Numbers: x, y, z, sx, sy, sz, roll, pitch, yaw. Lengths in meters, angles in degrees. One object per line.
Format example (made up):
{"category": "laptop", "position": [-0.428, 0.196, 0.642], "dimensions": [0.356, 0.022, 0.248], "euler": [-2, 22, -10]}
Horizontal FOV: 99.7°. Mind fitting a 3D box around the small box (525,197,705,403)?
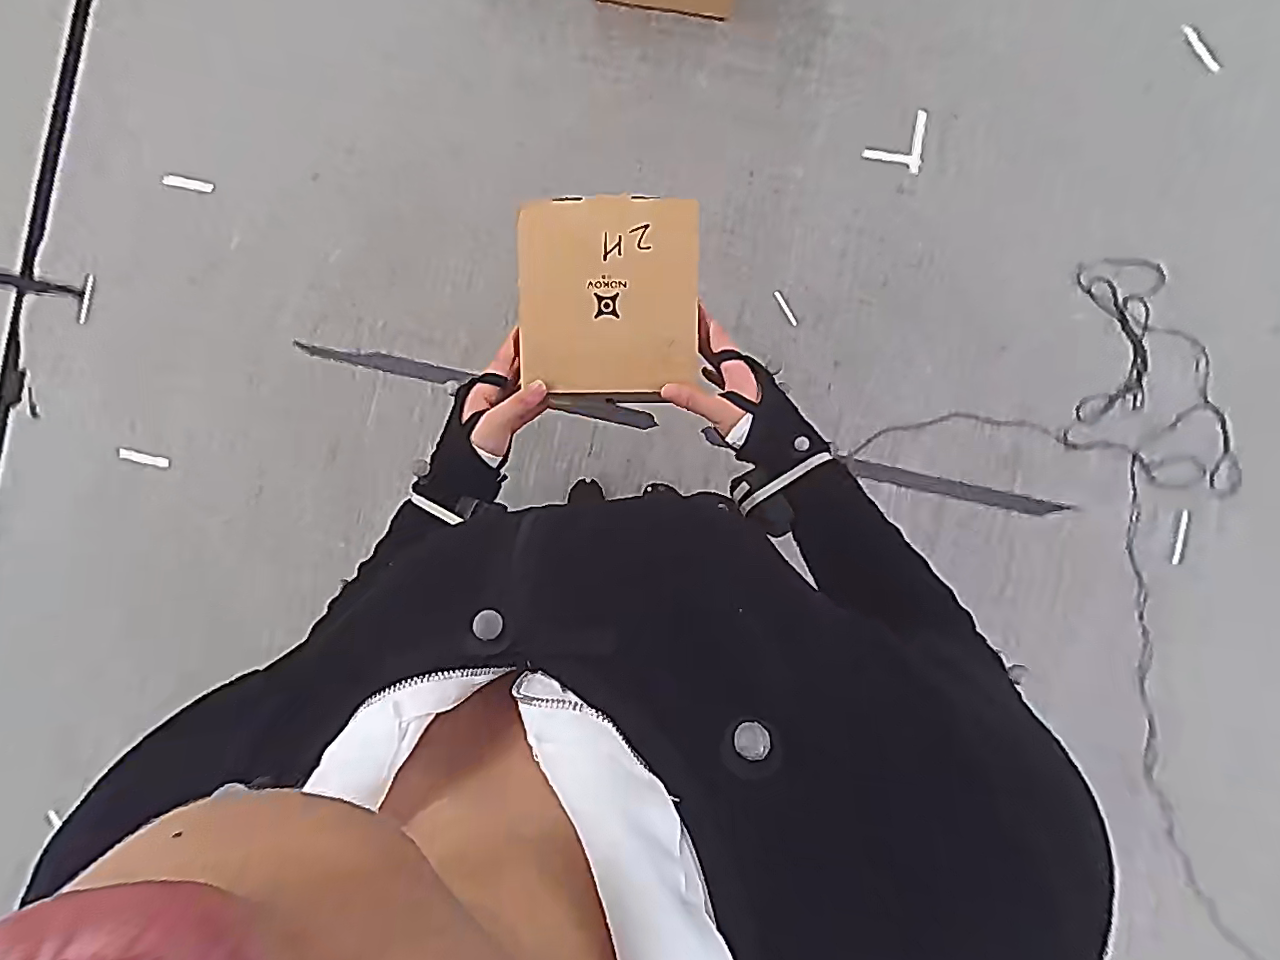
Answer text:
{"category": "small box", "position": [-0.022, -0.176, 0.578], "dimensions": [0.168, 0.176, 0.179], "euler": [2, 94, 1]}
